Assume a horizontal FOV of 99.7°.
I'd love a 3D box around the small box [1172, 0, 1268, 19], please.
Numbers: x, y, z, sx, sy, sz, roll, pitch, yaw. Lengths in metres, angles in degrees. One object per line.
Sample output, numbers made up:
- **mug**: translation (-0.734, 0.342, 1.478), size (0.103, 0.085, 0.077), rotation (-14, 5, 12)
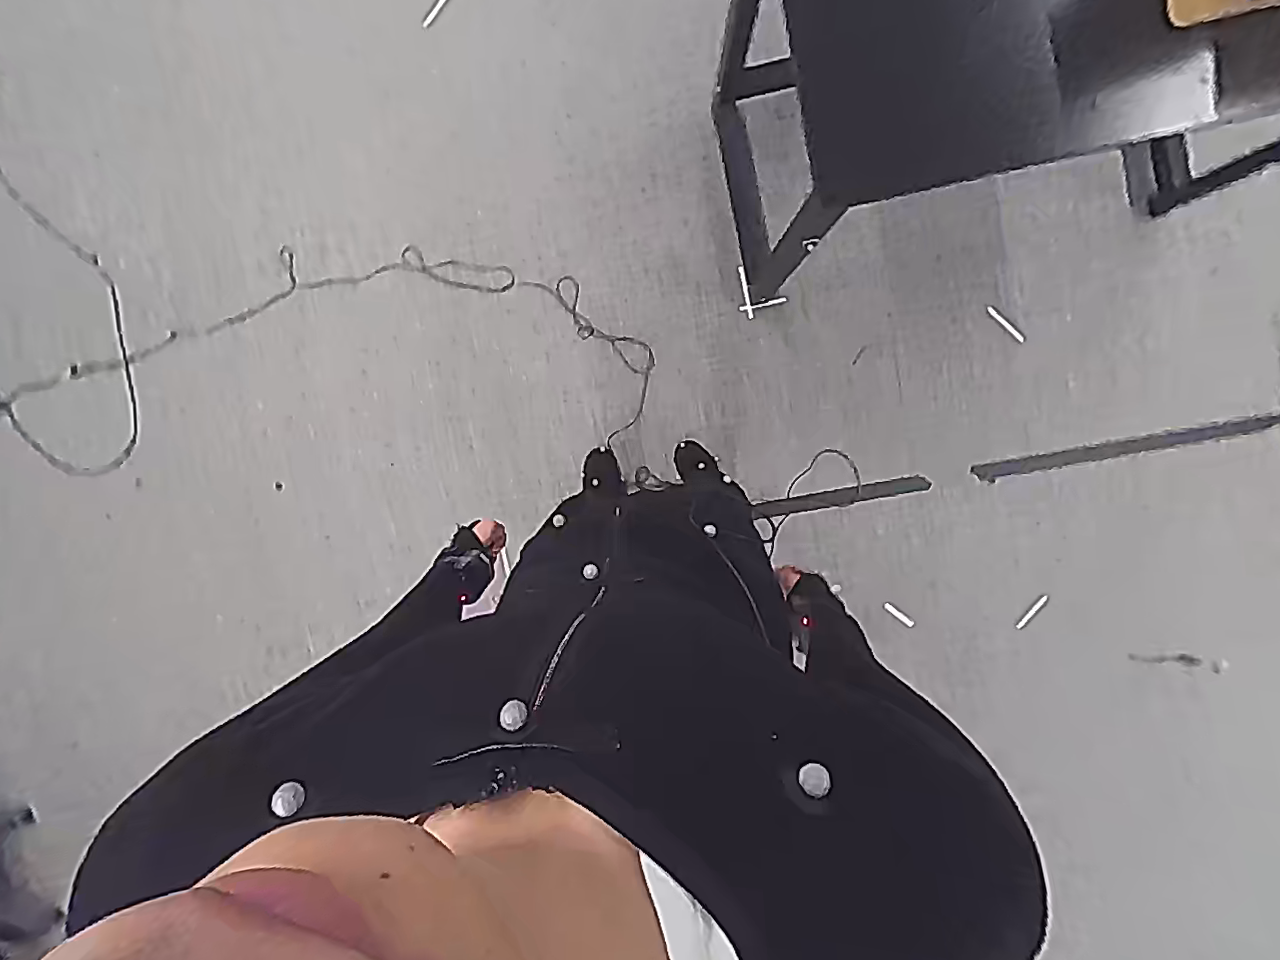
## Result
- **small box**: translation (0.859, -0.782, 0.722), size (0.168, 0.176, 0.179), rotation (-12, 95, 3)
